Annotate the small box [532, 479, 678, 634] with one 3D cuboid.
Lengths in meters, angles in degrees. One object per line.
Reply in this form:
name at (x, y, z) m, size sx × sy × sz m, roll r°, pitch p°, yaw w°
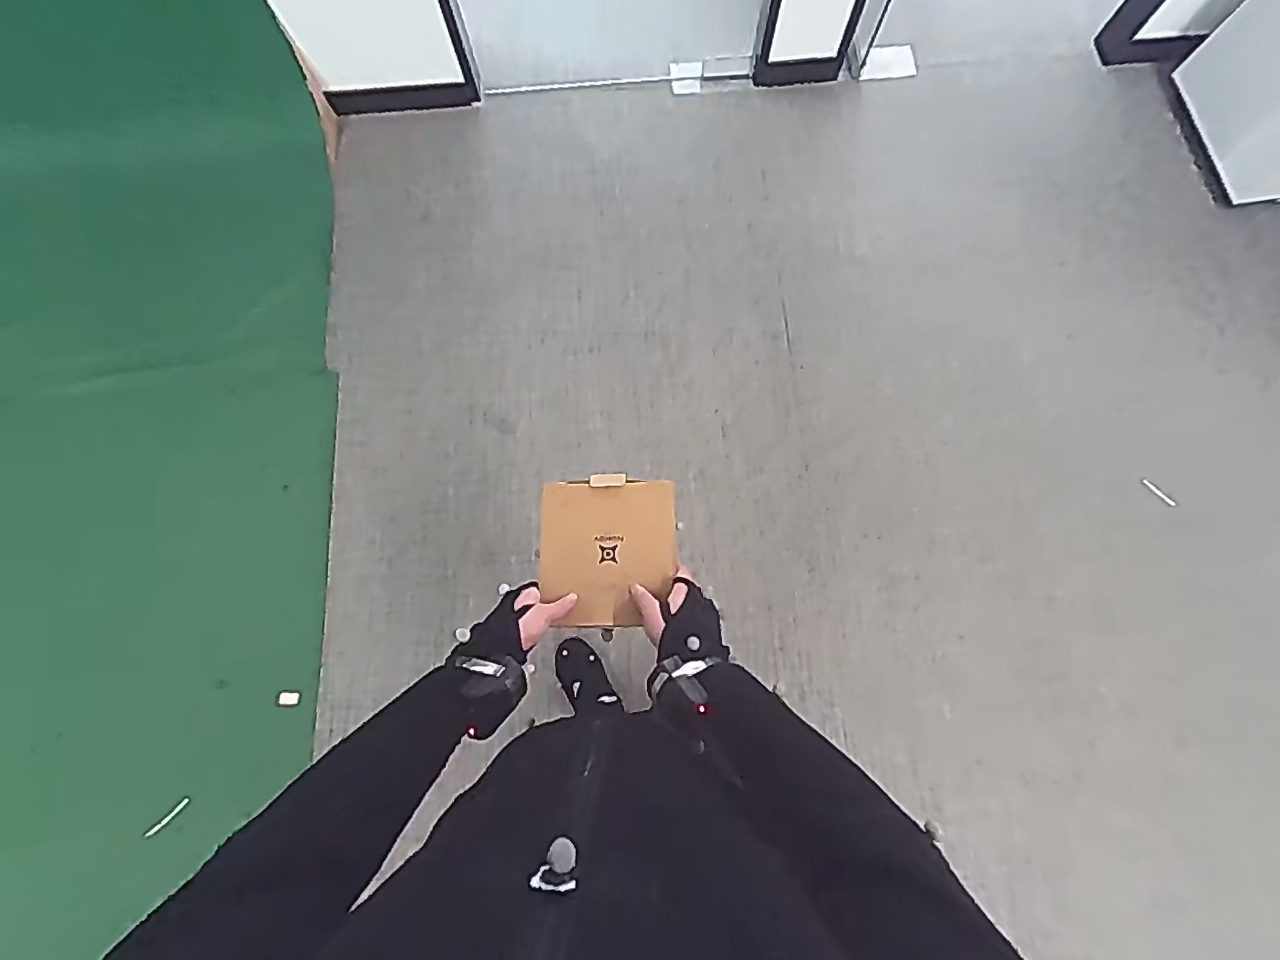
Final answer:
small box at (-0.036, 0.106, 0.706) m, size 0.168 × 0.176 × 0.179 m, roll 0°, pitch 74°, yaw 3°
